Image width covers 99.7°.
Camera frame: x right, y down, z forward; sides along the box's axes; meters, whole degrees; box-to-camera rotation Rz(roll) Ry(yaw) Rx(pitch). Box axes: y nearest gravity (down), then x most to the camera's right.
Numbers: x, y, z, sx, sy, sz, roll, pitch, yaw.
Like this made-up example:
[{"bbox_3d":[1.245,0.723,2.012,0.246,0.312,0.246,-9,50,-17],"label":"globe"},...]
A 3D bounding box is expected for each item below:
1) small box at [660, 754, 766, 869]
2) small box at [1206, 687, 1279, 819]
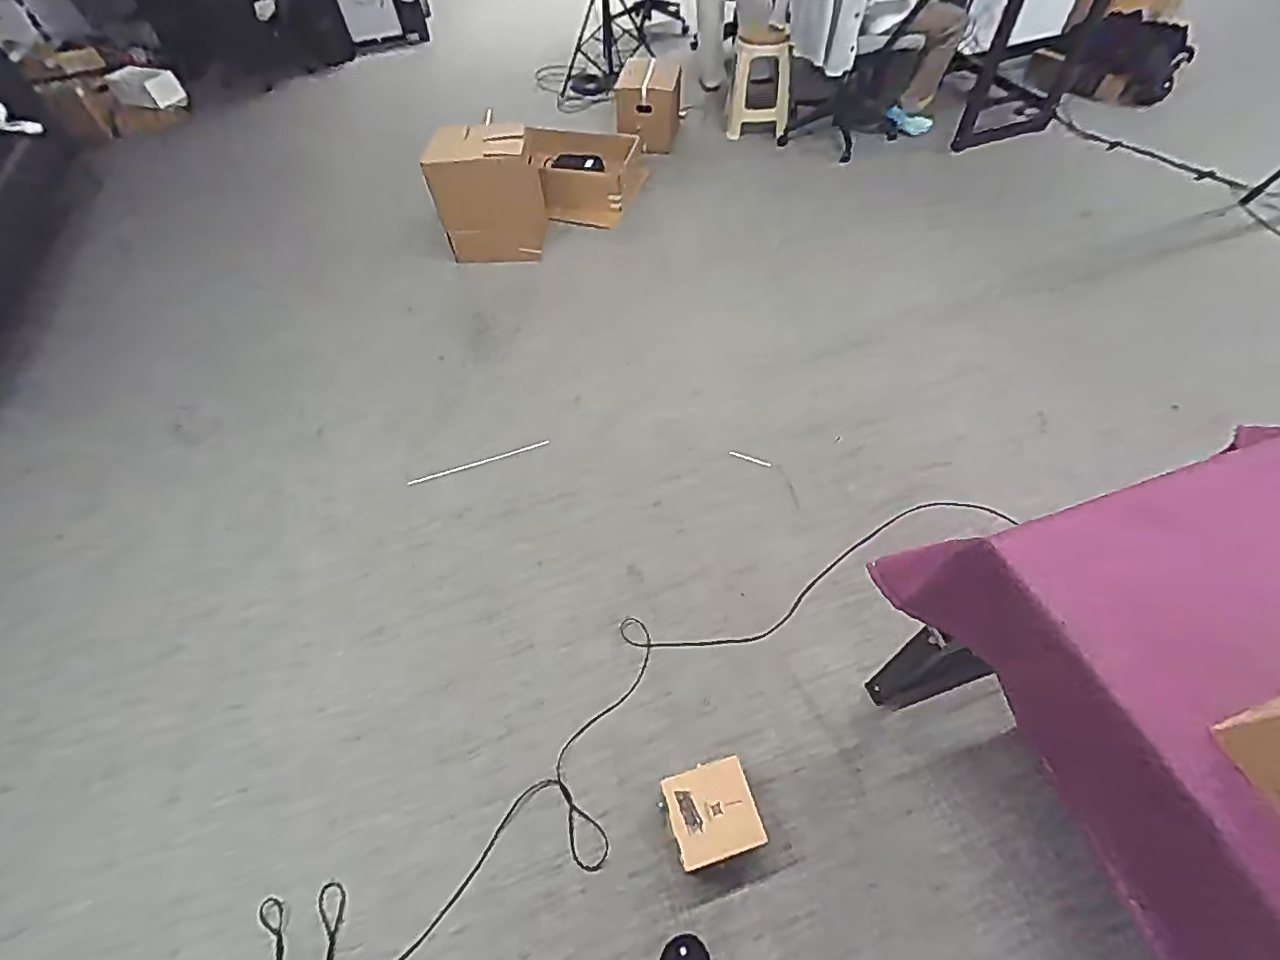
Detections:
[{"bbox_3d":[0.150,0.718,1.166,0.179,0.176,0.168,-15,55,-8],"label":"small box"},{"bbox_3d":[0.761,0.290,0.538,0.168,0.176,0.179,-17,56,-9],"label":"small box"}]
